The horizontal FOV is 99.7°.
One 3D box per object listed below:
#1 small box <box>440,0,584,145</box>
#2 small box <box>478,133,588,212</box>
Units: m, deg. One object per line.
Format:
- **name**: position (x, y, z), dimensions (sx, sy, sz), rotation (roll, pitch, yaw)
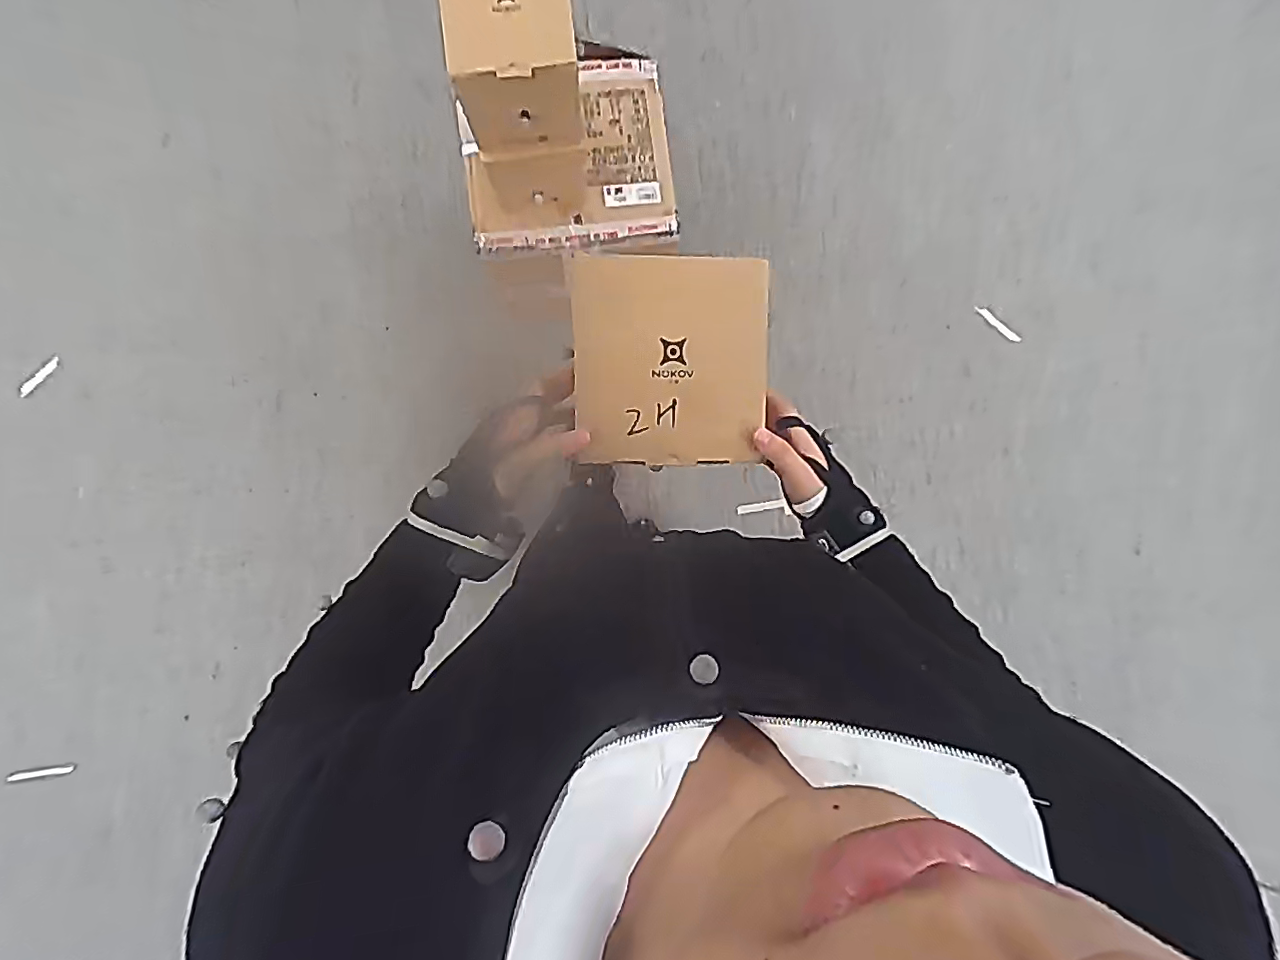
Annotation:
- **small box**: position (-0.171, -0.598, 0.757), dimensions (0.168, 0.176, 0.179), rotation (-7, 93, -3)
- **small box**: position (-0.182, -0.588, 0.921), dimensions (0.168, 0.176, 0.179), rotation (-9, 93, -3)
